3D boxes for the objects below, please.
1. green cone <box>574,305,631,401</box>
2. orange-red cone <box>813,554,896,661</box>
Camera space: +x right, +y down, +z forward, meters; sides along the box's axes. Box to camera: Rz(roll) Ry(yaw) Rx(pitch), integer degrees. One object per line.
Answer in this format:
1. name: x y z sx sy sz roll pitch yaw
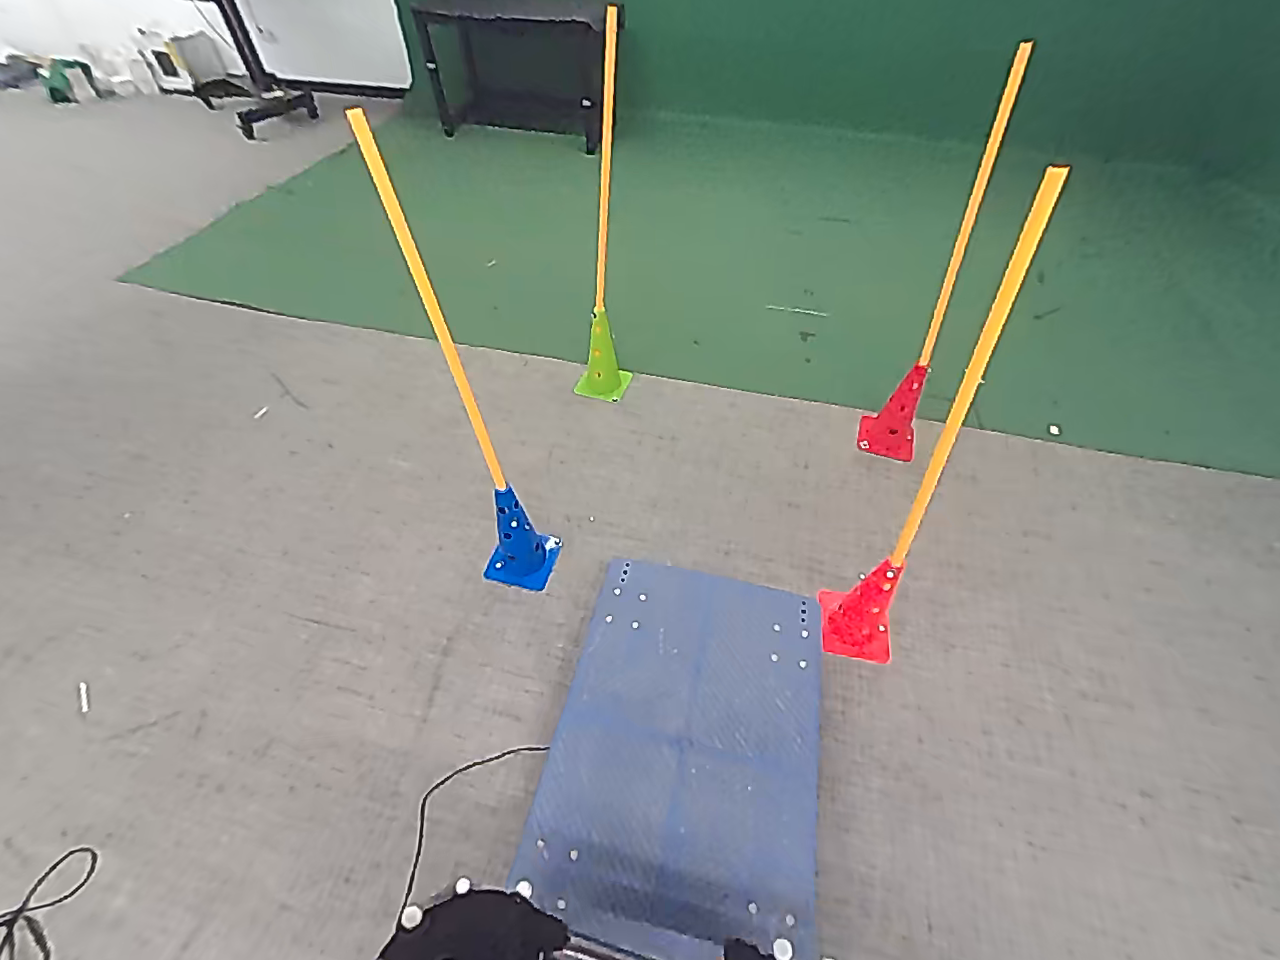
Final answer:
1. green cone: -0.156 -0.521 2.135 0.202 0.368 0.200 14 51 12
2. orange-red cone: 0.607 0.312 1.453 0.199 0.360 0.198 10 50 10
